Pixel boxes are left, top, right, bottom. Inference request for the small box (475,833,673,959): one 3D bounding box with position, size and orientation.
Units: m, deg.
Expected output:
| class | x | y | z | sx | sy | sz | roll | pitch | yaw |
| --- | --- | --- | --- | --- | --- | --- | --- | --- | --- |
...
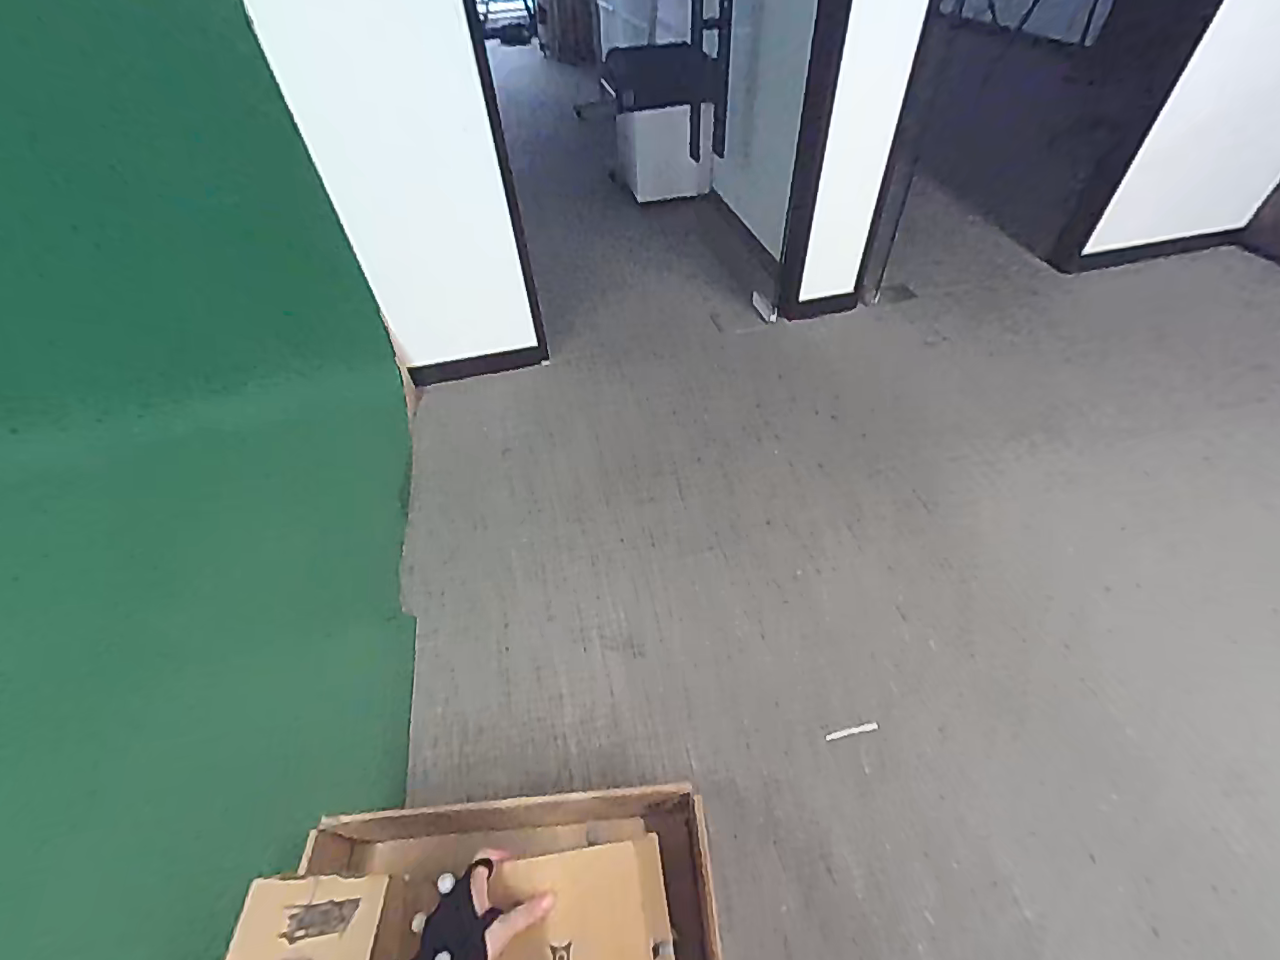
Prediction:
| class | x | y | z | sx | sy | sz | roll | pitch | yaw |
| --- | --- | --- | --- | --- | --- | --- | --- | --- | --- |
| small box | -0.060 | 0.482 | 0.561 | 0.168 | 0.176 | 0.179 | -12 | 60 | 3 |
